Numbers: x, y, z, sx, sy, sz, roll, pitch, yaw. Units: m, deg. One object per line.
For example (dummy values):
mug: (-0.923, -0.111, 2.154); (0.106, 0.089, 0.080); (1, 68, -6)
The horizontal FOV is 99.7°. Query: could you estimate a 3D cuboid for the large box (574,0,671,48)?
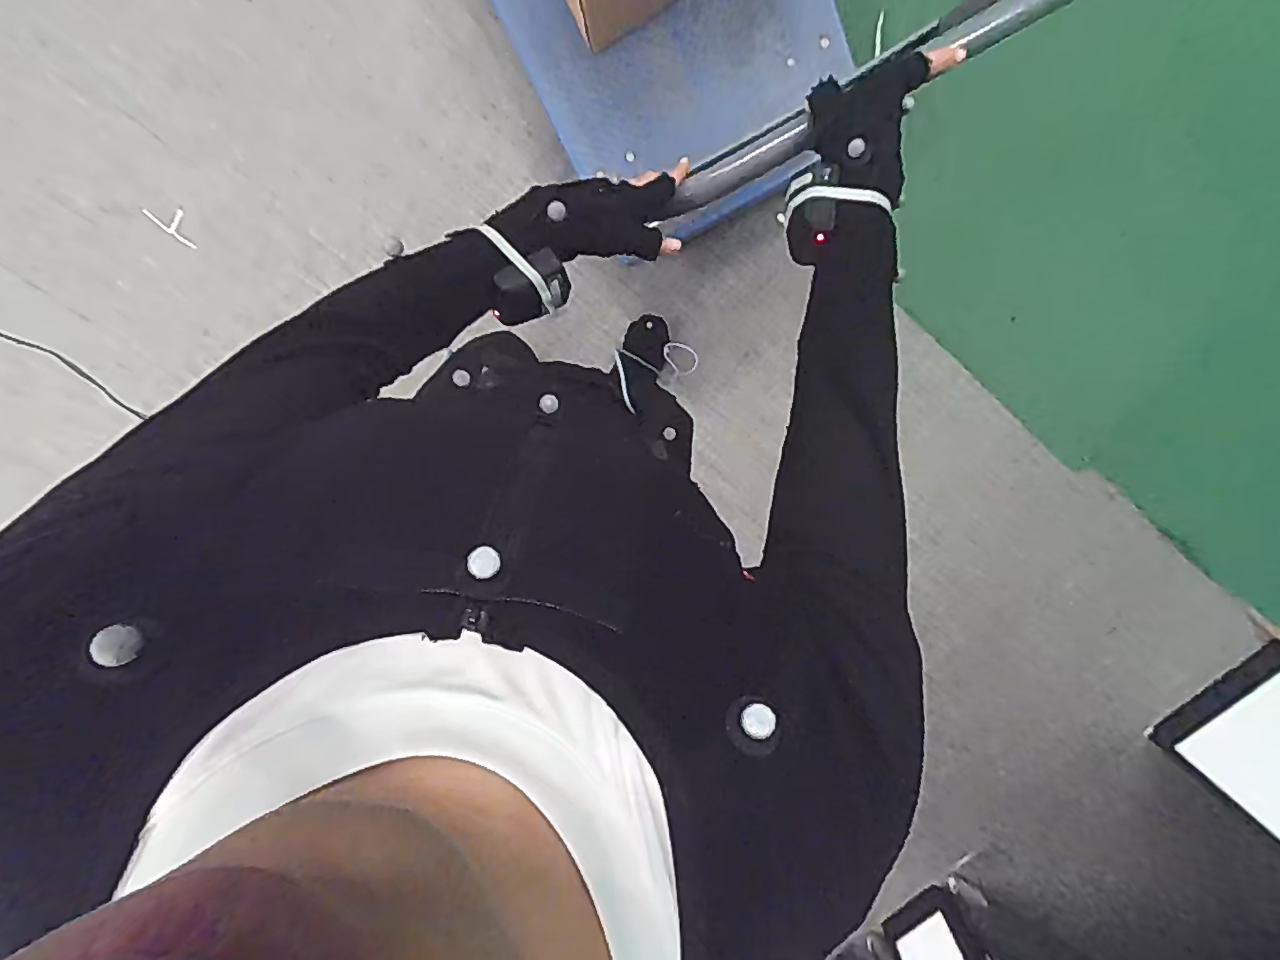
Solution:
large box: (0.019, -0.993, 0.829); (0.408, 0.320, 0.320); (-28, 107, 10)
